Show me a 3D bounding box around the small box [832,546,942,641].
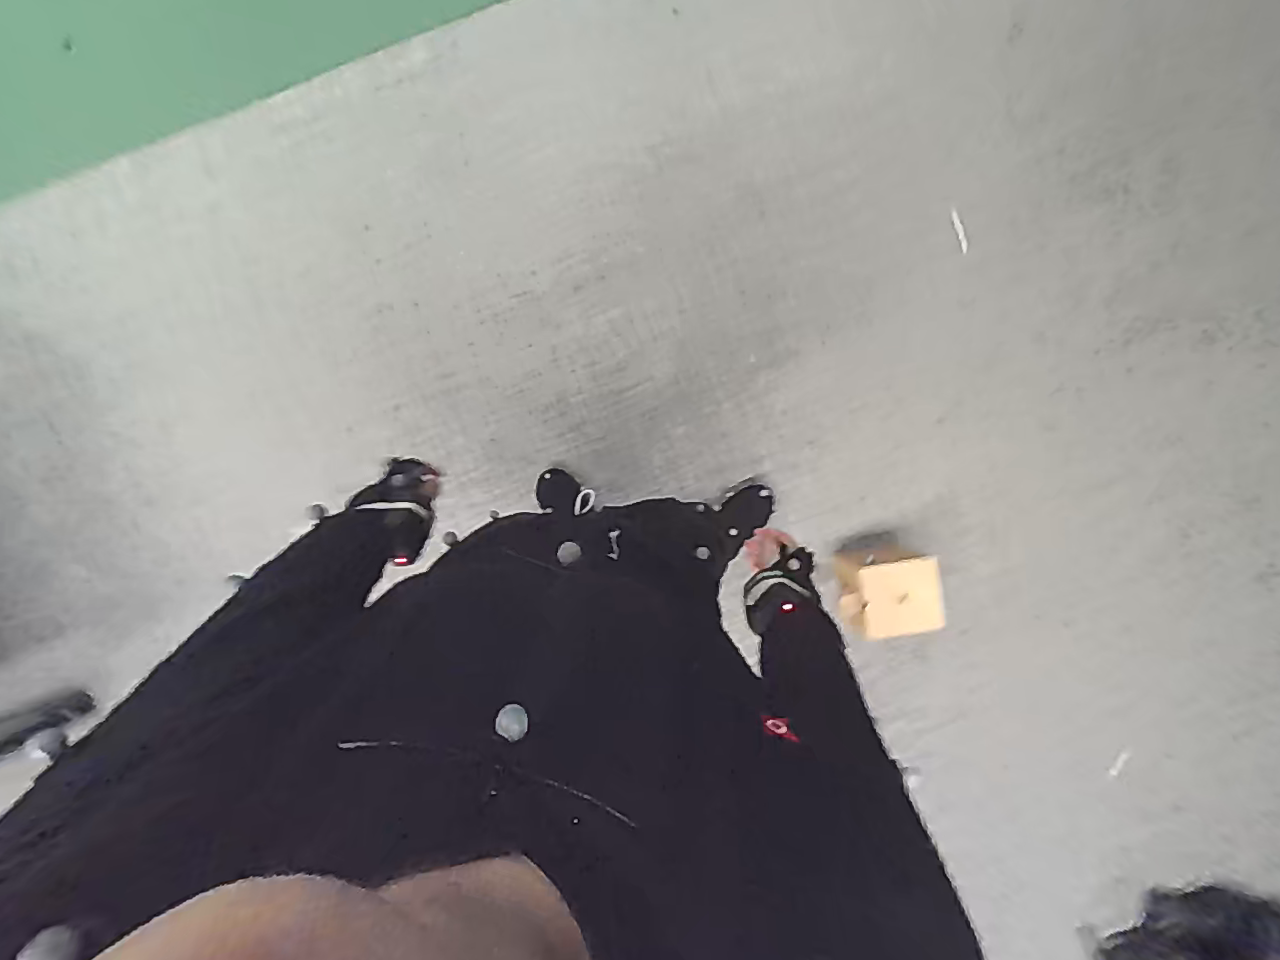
[{"bbox_3d":[0.577,0.261,1.279,0.179,0.176,0.168,-9,94,1],"label":"small box"}]
